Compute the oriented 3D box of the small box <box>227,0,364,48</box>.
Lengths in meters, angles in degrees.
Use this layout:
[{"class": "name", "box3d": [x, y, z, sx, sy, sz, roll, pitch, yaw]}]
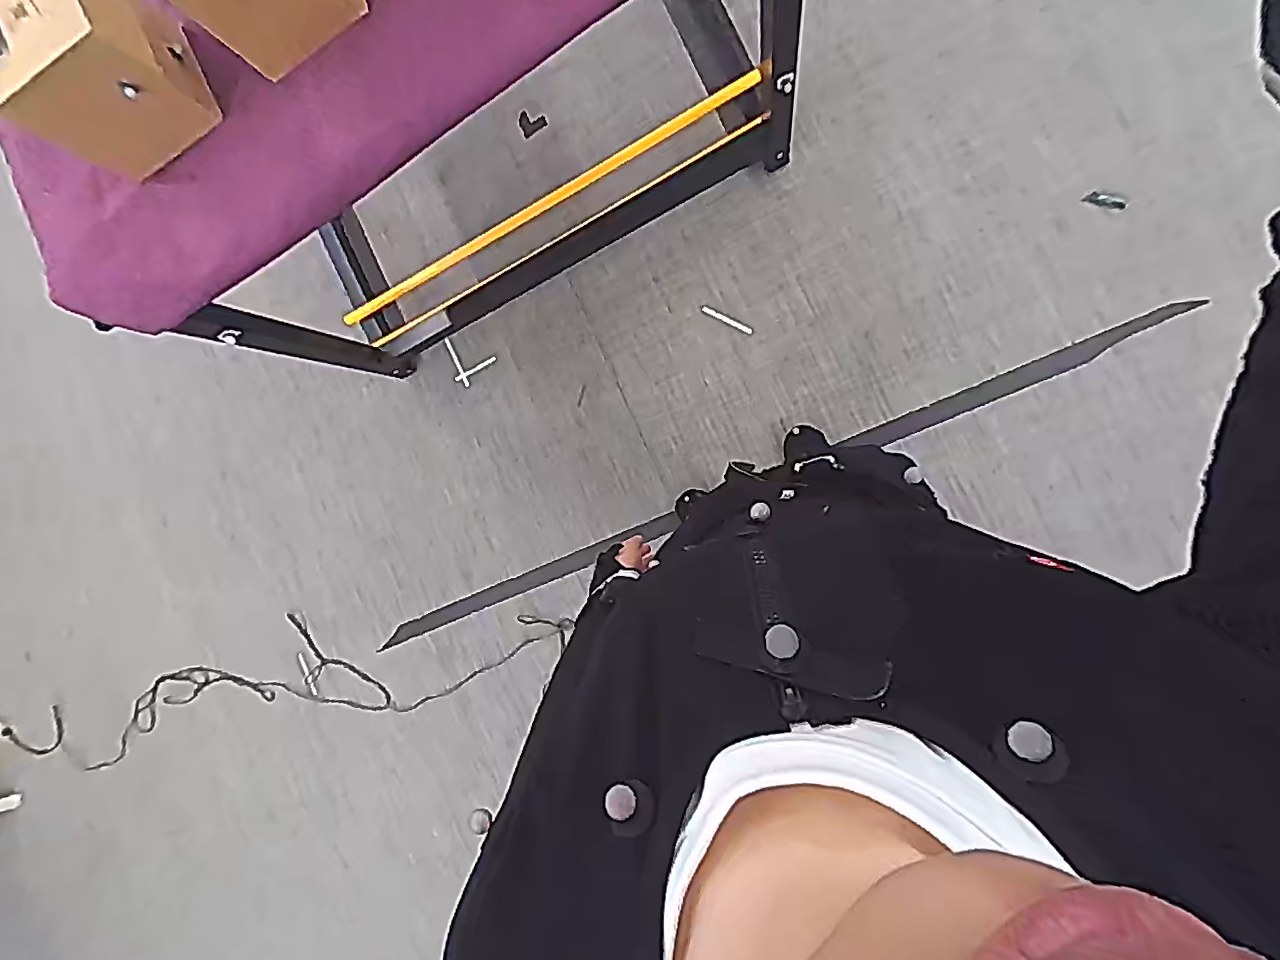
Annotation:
[{"class": "small box", "box3d": [-0.457, -0.692, 0.655, 0.179, 0.176, 0.168, -22, 88, 12]}]
